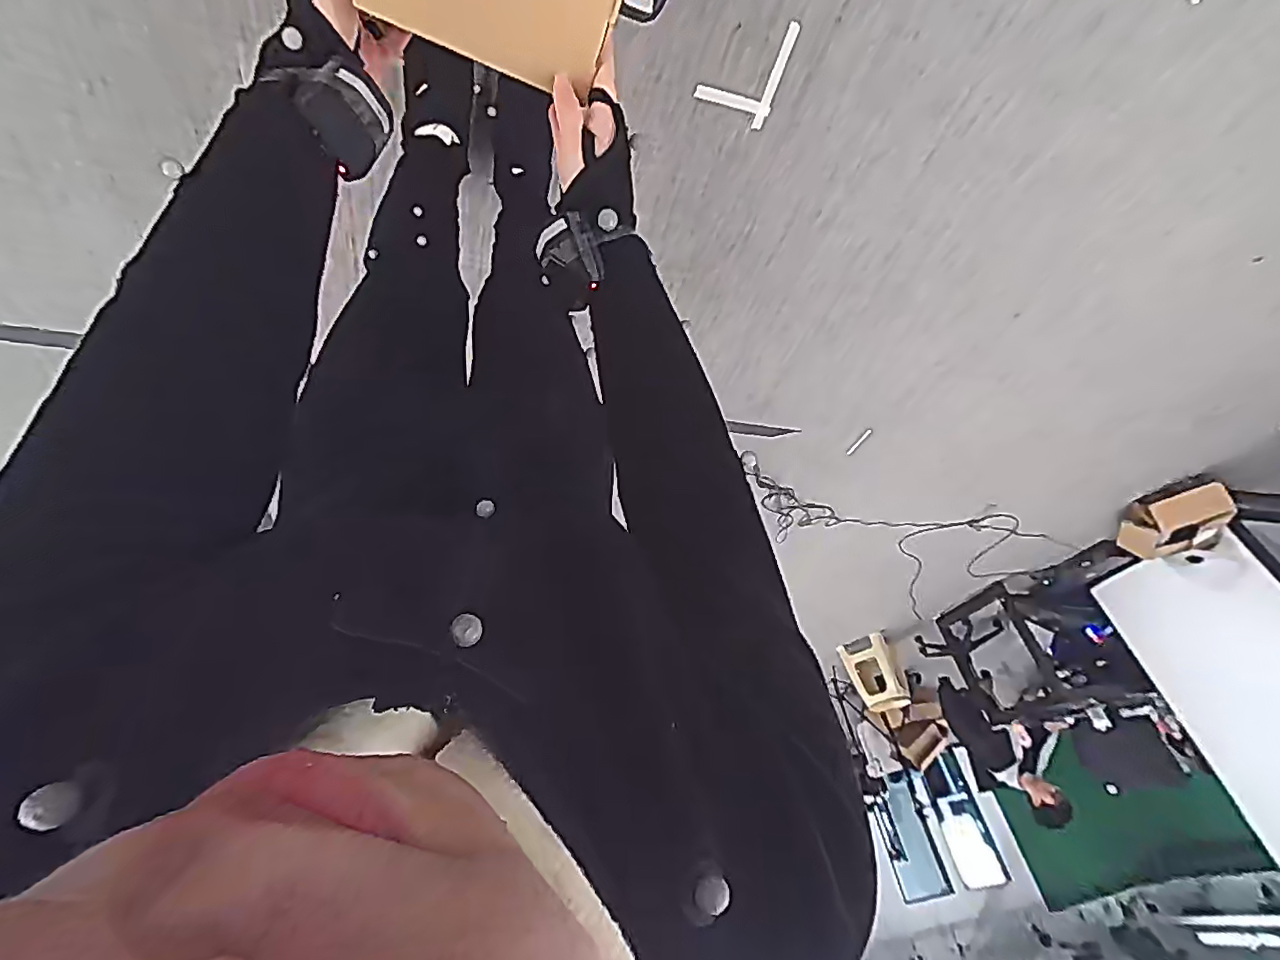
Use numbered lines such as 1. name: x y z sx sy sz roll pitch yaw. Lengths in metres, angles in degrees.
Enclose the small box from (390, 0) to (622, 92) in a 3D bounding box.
1. small box: -0.094 -0.435 0.392 0.179 0.176 0.168 10 139 -24
